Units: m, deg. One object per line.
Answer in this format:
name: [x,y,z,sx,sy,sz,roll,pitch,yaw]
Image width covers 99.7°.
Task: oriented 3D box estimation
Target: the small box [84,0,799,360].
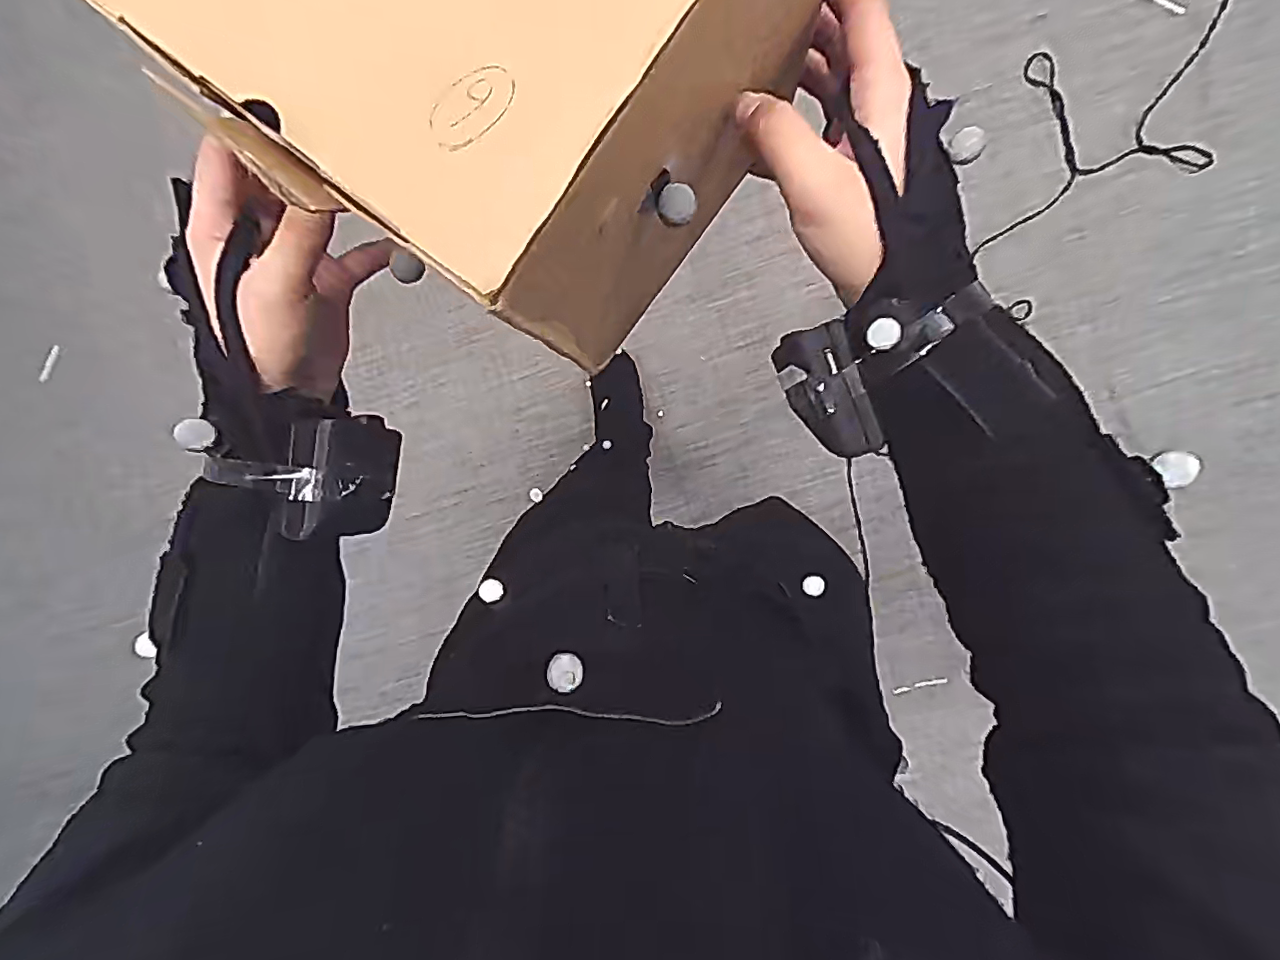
small box: [-0.045,-0.170,0.226,0.168,0.176,0.179,38,98,2]
